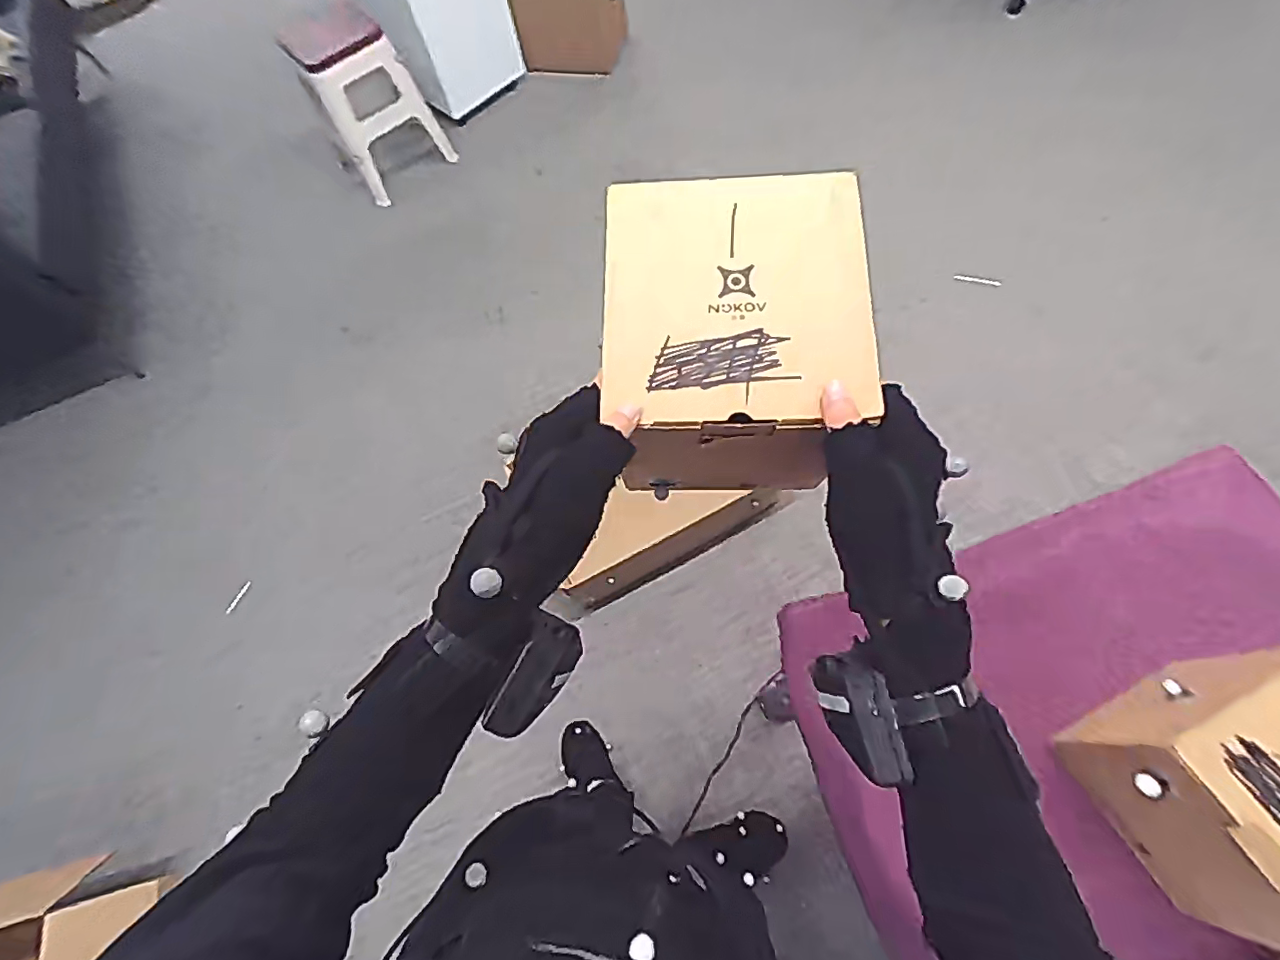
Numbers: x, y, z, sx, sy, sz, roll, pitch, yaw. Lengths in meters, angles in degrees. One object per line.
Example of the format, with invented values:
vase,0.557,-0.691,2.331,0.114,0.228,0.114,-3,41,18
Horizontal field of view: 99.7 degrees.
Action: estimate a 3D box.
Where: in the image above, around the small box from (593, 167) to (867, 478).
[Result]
small box,0.060,-0.102,0.418,0.168,0.176,0.179,-1,75,4
